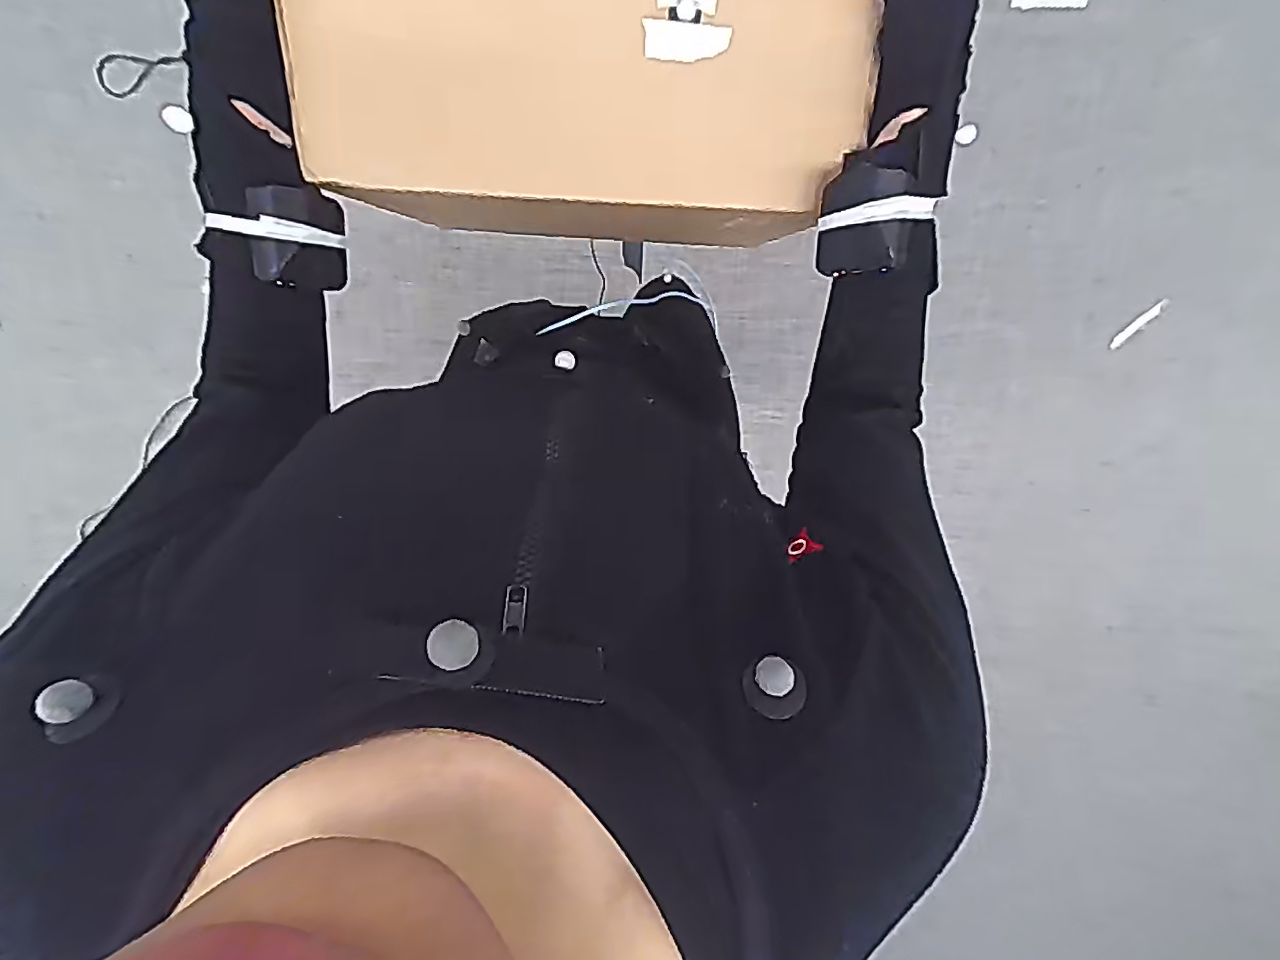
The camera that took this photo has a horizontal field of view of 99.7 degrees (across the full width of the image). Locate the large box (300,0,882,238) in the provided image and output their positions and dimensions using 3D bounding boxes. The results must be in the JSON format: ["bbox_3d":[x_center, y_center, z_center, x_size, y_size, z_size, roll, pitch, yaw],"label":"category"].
[{"bbox_3d":[-0.036,-0.407,0.497,0.408,0.320,0.320,1,110,-3],"label":"large box"}]
